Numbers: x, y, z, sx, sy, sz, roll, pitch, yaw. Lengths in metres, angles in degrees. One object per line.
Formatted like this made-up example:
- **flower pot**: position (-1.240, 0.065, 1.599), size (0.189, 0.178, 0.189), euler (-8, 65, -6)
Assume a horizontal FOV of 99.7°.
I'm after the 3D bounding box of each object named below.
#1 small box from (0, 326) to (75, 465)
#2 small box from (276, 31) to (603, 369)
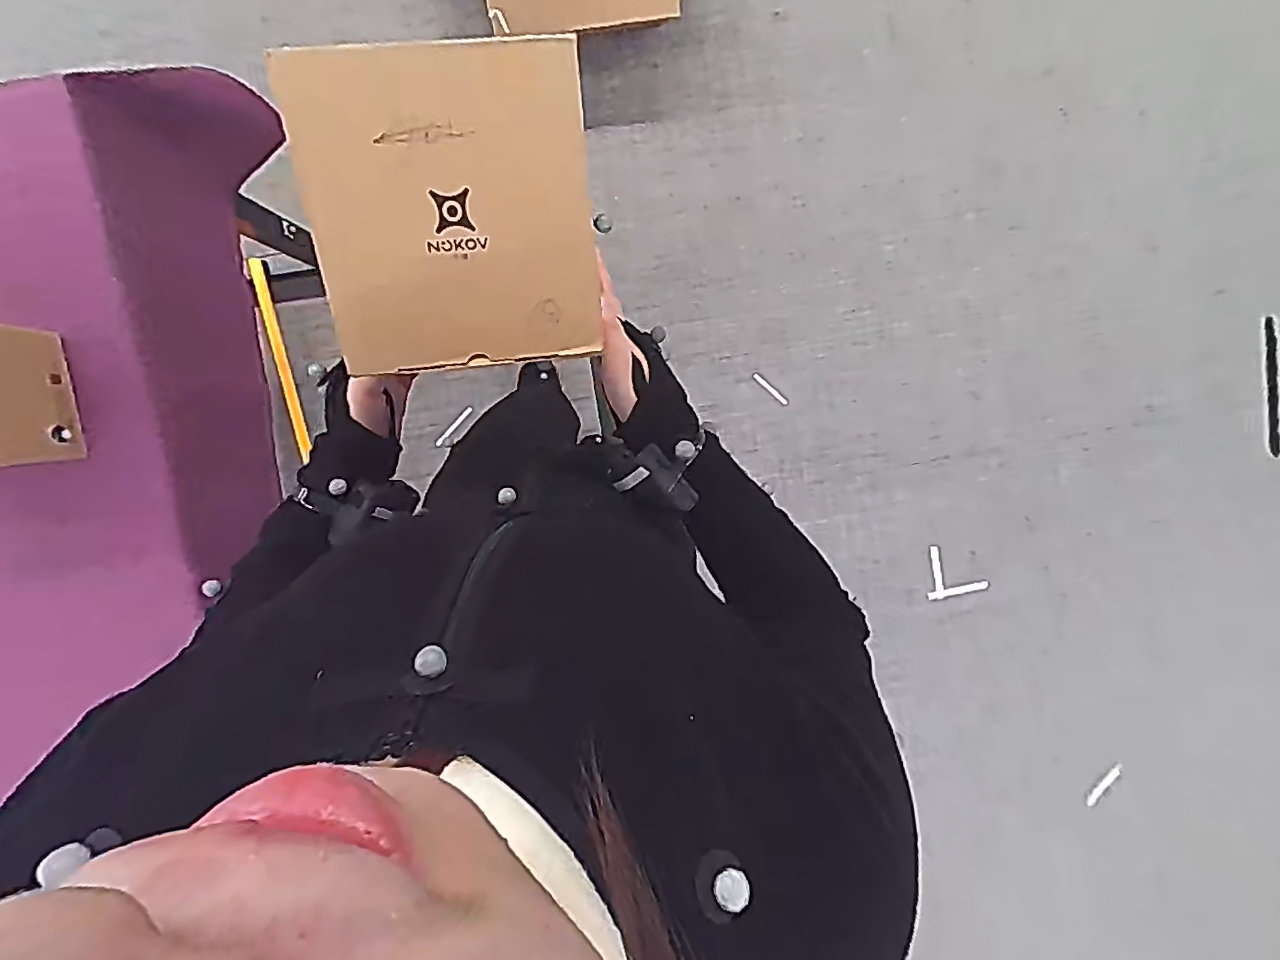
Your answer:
- **small box**: position (-0.827, -0.094, 0.631), size (0.179, 0.176, 0.168), euler (-6, 98, 0)
- **small box**: position (-0.115, -0.185, 0.395), size (0.168, 0.176, 0.179), euler (-6, 110, -5)
